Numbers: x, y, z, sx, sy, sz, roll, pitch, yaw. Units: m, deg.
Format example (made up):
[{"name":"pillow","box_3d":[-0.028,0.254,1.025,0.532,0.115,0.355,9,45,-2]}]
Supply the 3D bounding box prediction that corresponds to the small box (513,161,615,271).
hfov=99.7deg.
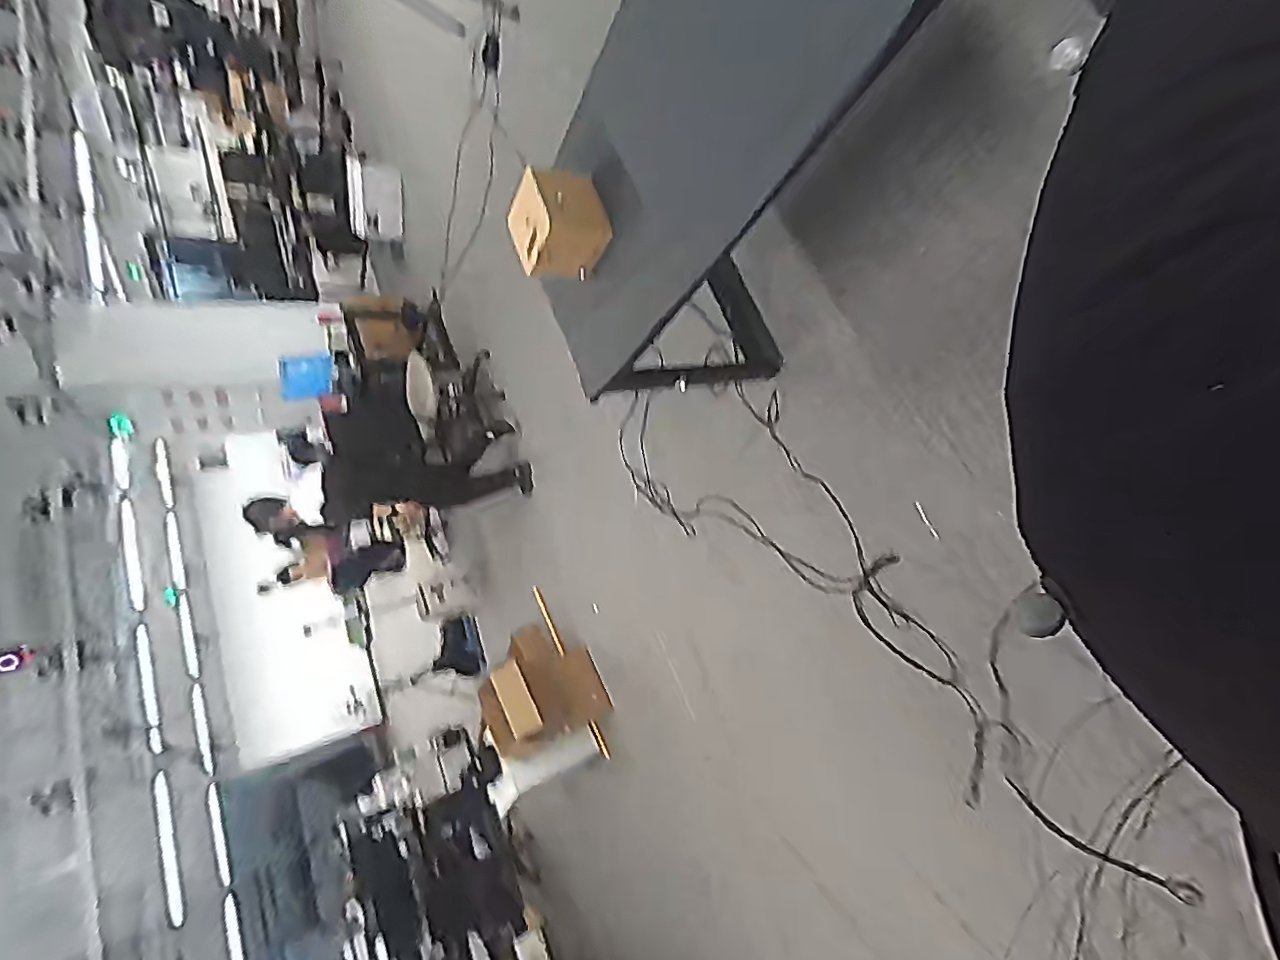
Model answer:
[{"name":"small box","box_3d":[-0.183,-0.631,1.313,0.168,0.176,0.179,-39,67,51]}]
